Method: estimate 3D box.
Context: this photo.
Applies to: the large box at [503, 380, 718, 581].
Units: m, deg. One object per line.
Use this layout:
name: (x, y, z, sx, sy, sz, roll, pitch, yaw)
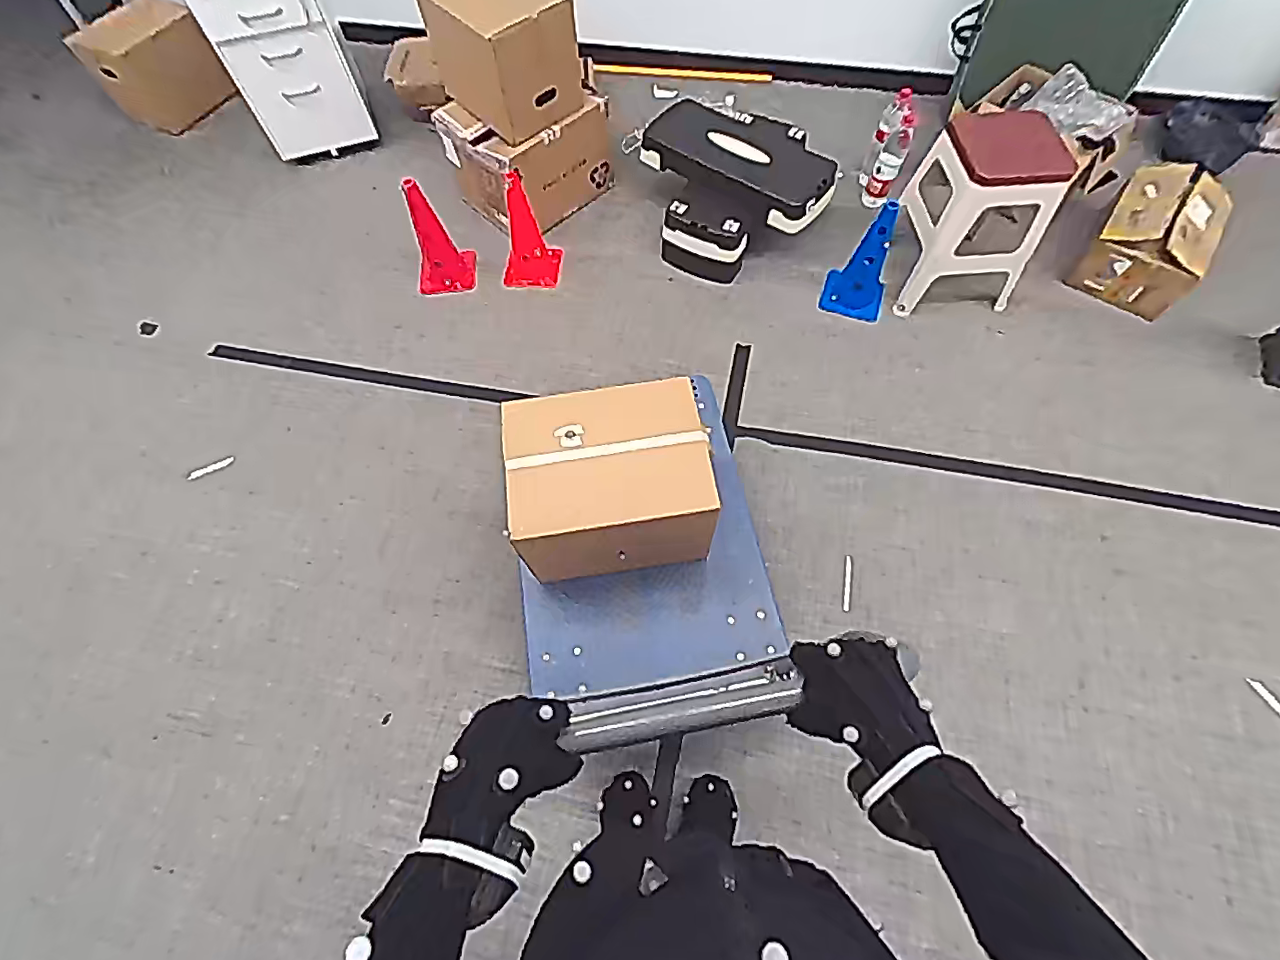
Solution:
large box: (-0.062, 0.016, 1.220, 0.408, 0.320, 0.320, -9, 64, -2)
